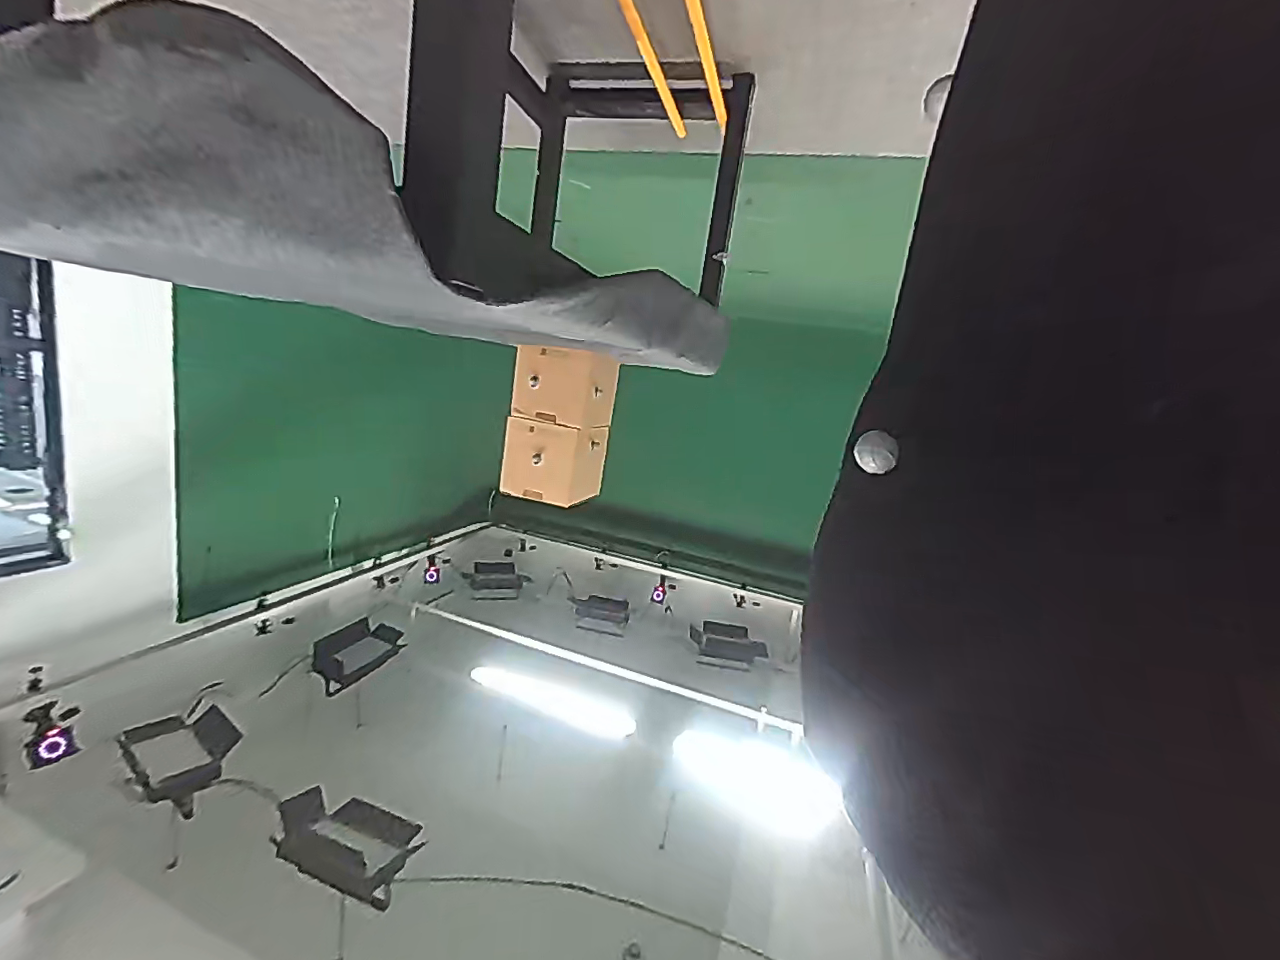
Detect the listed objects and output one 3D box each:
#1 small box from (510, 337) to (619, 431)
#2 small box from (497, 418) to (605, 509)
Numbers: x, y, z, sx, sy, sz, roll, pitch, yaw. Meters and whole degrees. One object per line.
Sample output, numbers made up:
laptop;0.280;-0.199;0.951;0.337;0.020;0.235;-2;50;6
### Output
small box;-0.157;-0.203;1.153;0.168;0.176;0.179;13;-169;15
small box;-0.190;-0.046;1.185;0.168;0.176;0.179;13;-170;16
